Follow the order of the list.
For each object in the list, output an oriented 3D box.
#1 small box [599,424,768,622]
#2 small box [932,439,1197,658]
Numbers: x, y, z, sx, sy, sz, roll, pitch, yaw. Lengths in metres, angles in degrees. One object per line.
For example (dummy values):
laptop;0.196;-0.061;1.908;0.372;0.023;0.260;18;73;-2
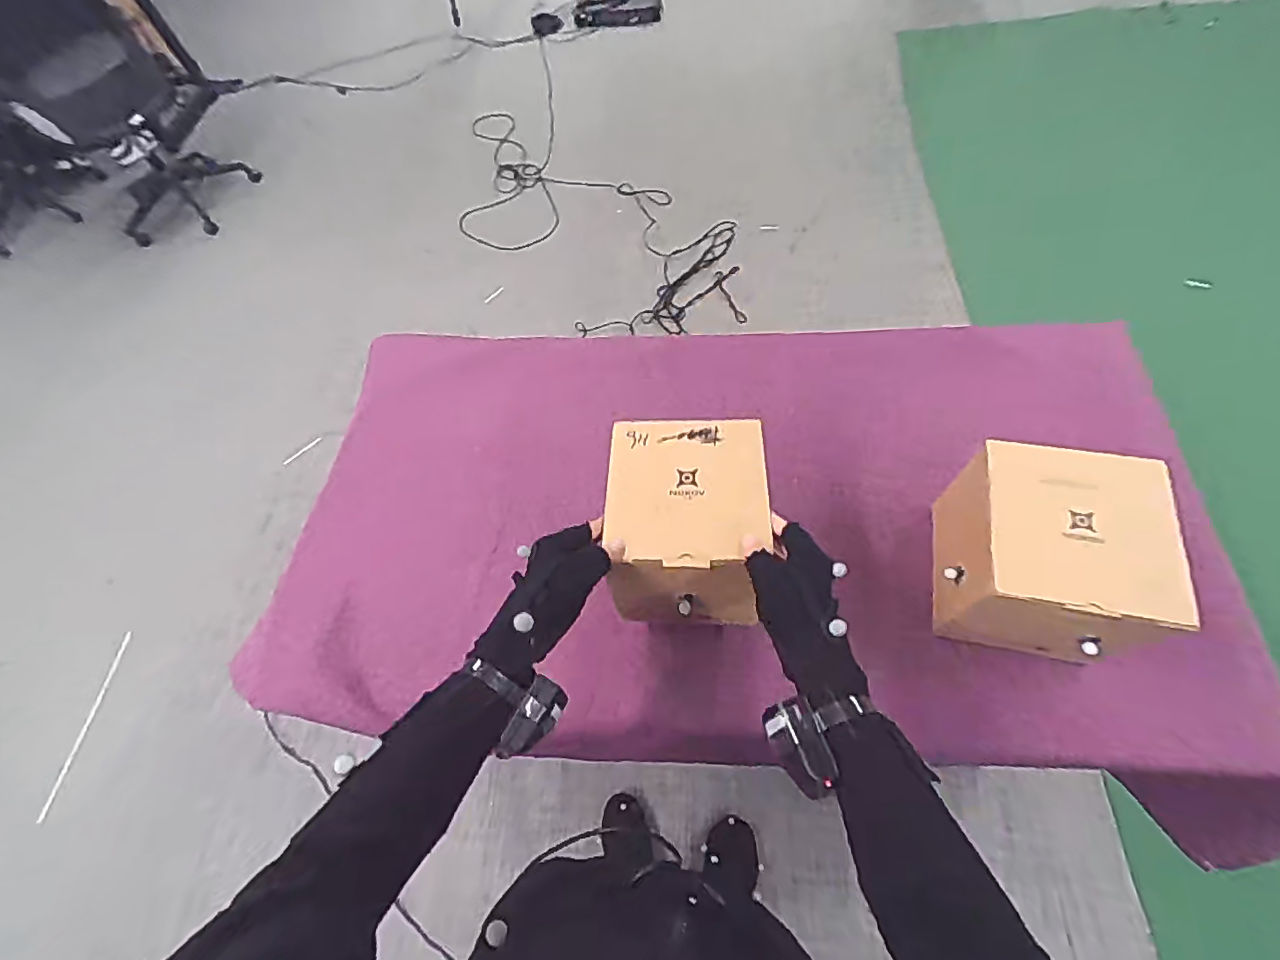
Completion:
small box;0.052;0.056;0.625;0.168;0.176;0.179;0;56;5
small box;0.437;0.081;0.592;0.168;0.176;0.179;10;63;13
